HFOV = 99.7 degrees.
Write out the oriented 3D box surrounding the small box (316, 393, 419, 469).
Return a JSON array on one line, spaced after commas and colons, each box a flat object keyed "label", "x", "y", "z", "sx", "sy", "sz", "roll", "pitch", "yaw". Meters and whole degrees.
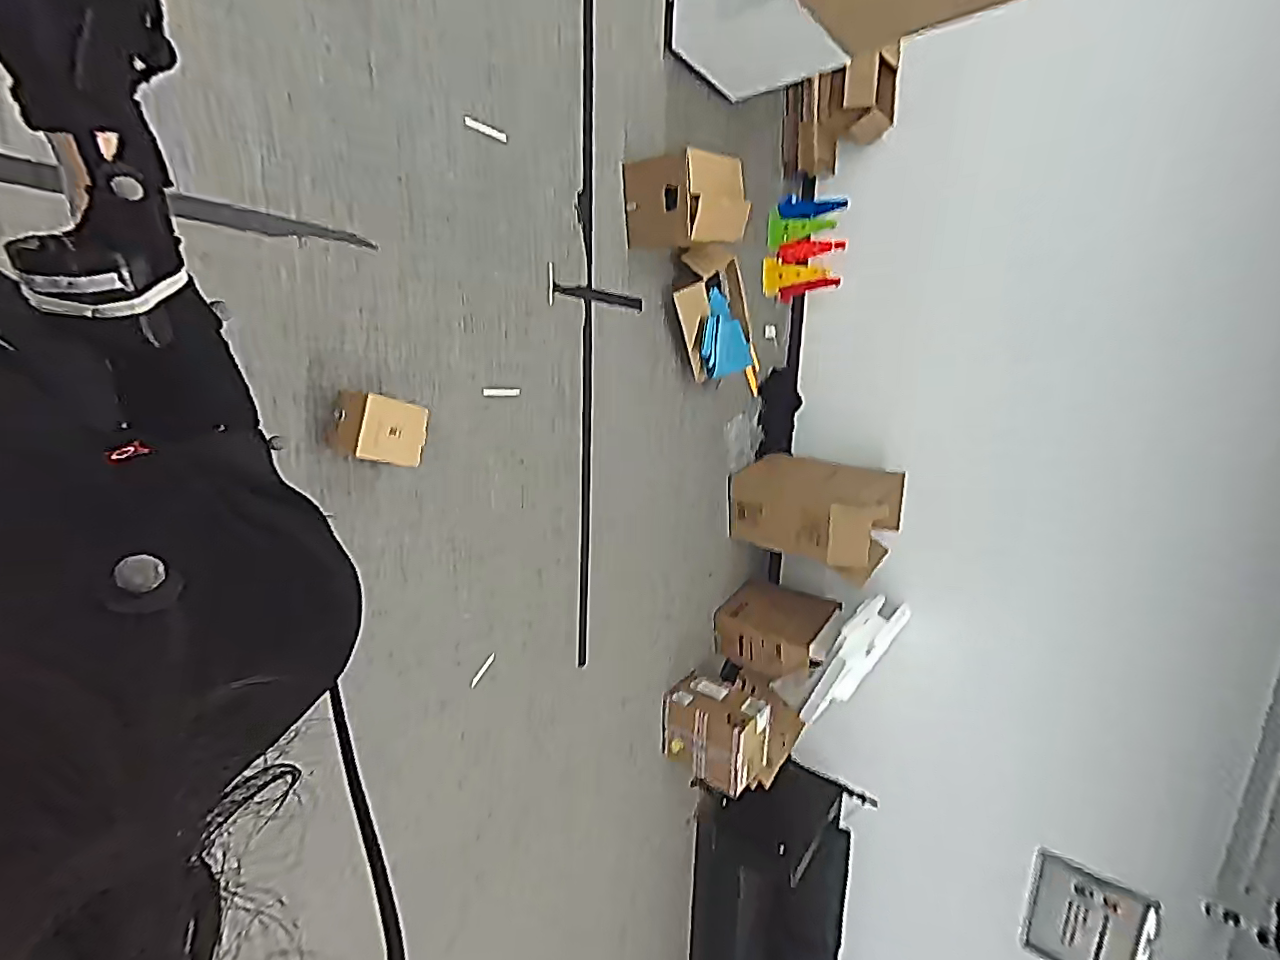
[{"label": "small box", "x": -0.733, "y": -0.134, "z": 1.455, "sx": 0.179, "sy": 0.176, "sz": 0.168, "roll": 14, "pitch": 86, "yaw": -53}]
